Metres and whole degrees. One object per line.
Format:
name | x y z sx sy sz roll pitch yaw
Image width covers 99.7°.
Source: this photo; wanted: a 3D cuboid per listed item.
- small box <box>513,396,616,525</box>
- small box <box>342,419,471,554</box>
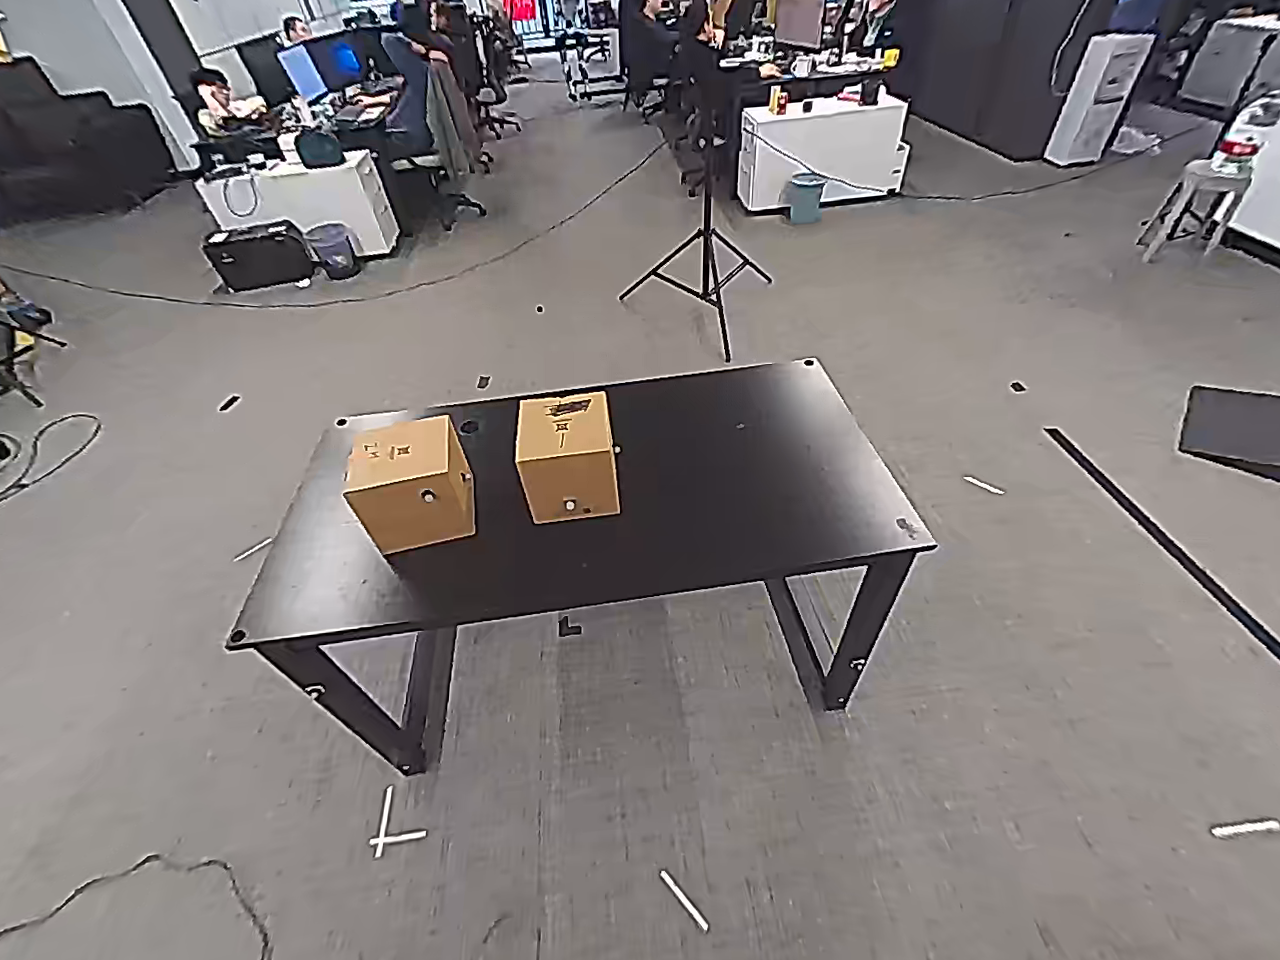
small box | -0.139 -0.037 1.040 0.168 0.176 0.179 -7 46 -1
small box | -0.423 0.014 1.015 0.179 0.176 0.168 -13 45 -7
